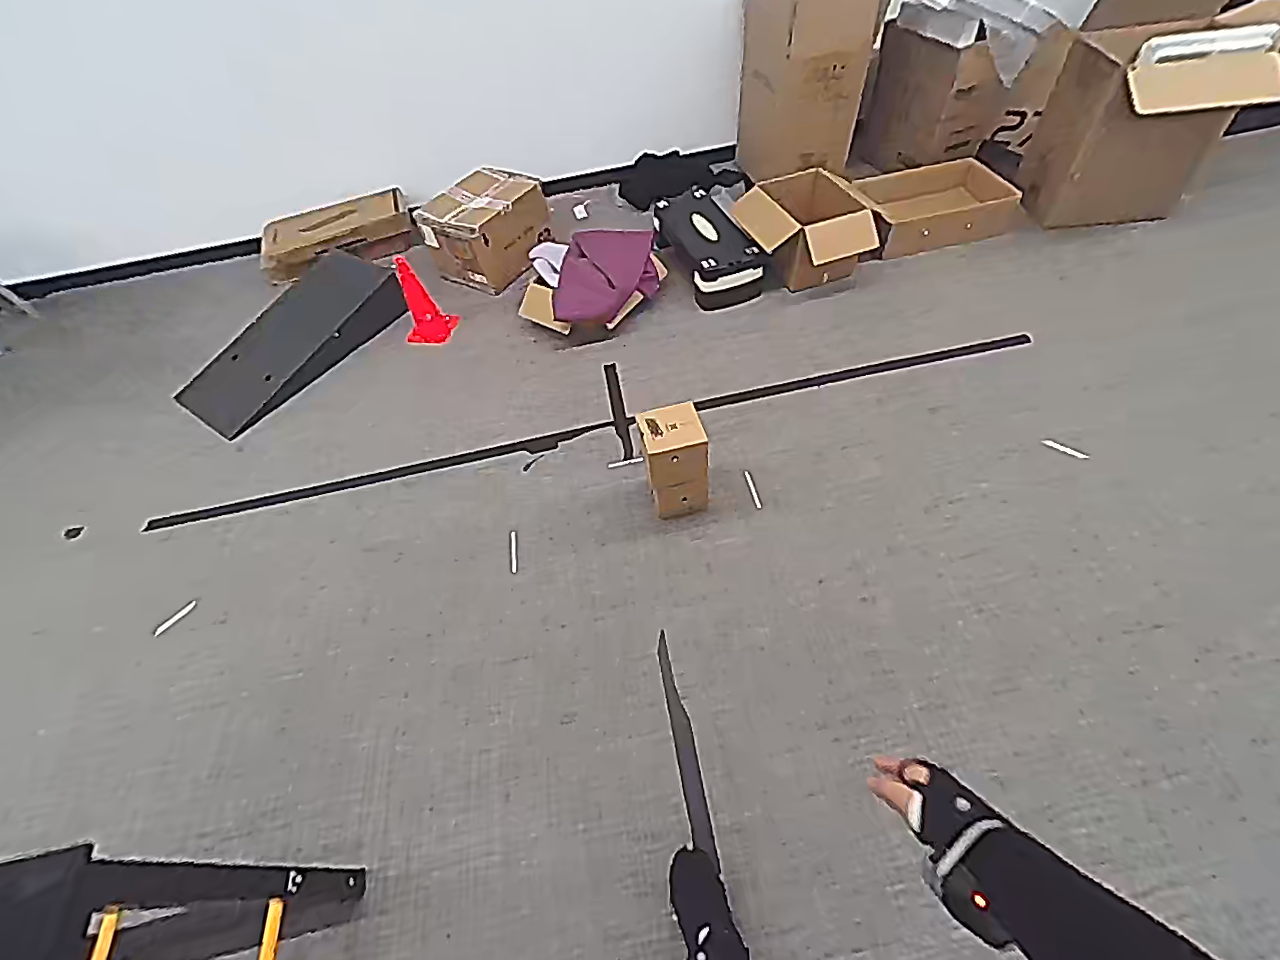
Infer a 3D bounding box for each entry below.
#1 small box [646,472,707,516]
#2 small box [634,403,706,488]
[{"bbox_3d":[0.114,-0.003,1.731,0.168,0.176,0.179,-14,54,-3],"label":"small box"},{"bbox_3d":[0.092,-0.098,1.597,0.179,0.176,0.168,-13,53,-4],"label":"small box"}]
